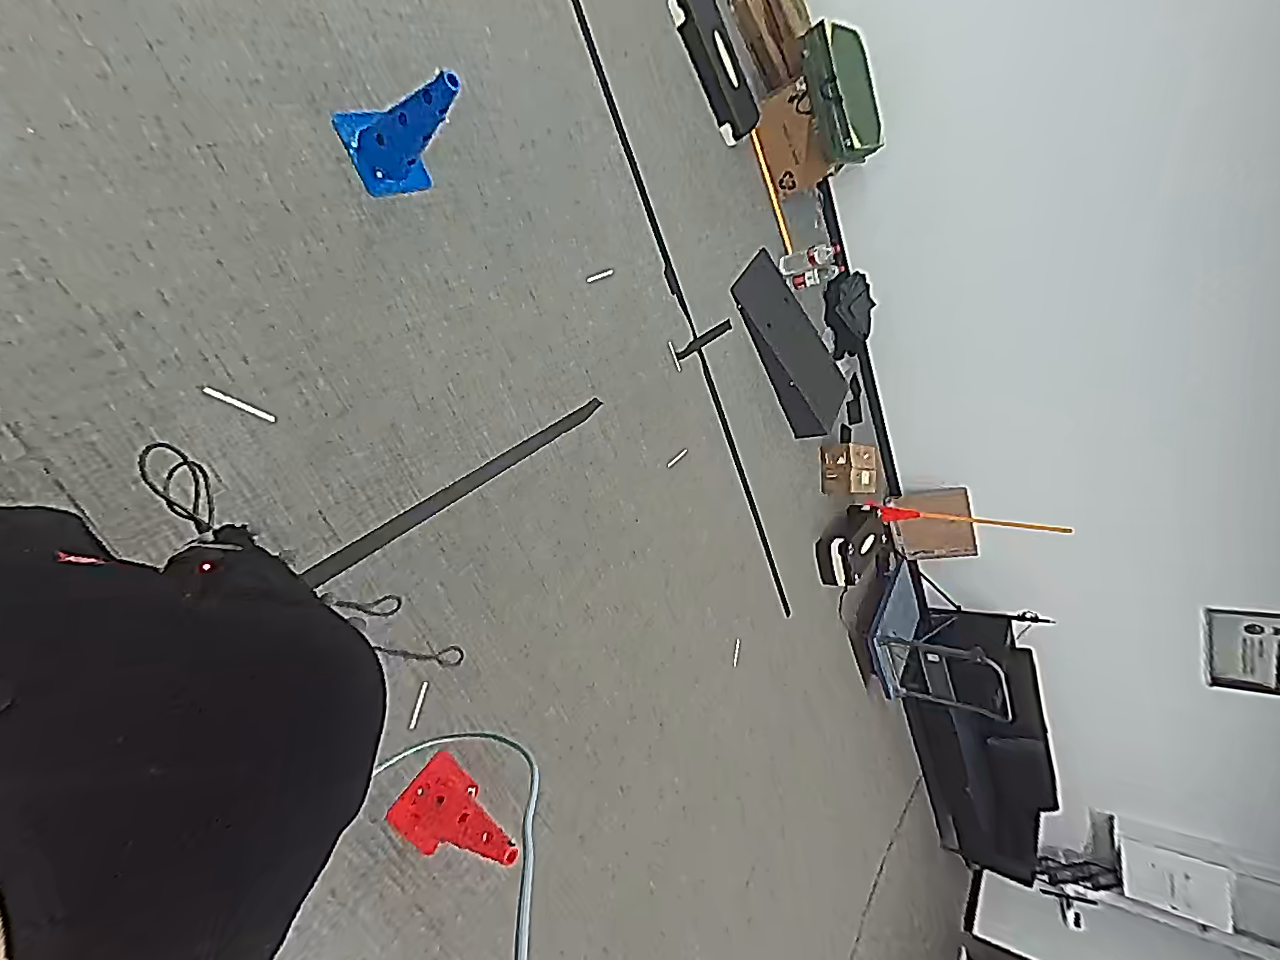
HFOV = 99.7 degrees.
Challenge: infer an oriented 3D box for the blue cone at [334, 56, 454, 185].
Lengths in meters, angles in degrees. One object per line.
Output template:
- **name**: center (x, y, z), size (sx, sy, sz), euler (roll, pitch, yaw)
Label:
- **blue cone**: center (-0.555, -0.886, 1.305), size (0.193, 0.380, 0.192), euler (-40, 115, -42)

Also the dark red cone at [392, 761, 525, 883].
- **dark red cone**: center (-0.406, 0.868, 1.315), size (0.202, 0.394, 0.201), euler (-49, 121, -38)
